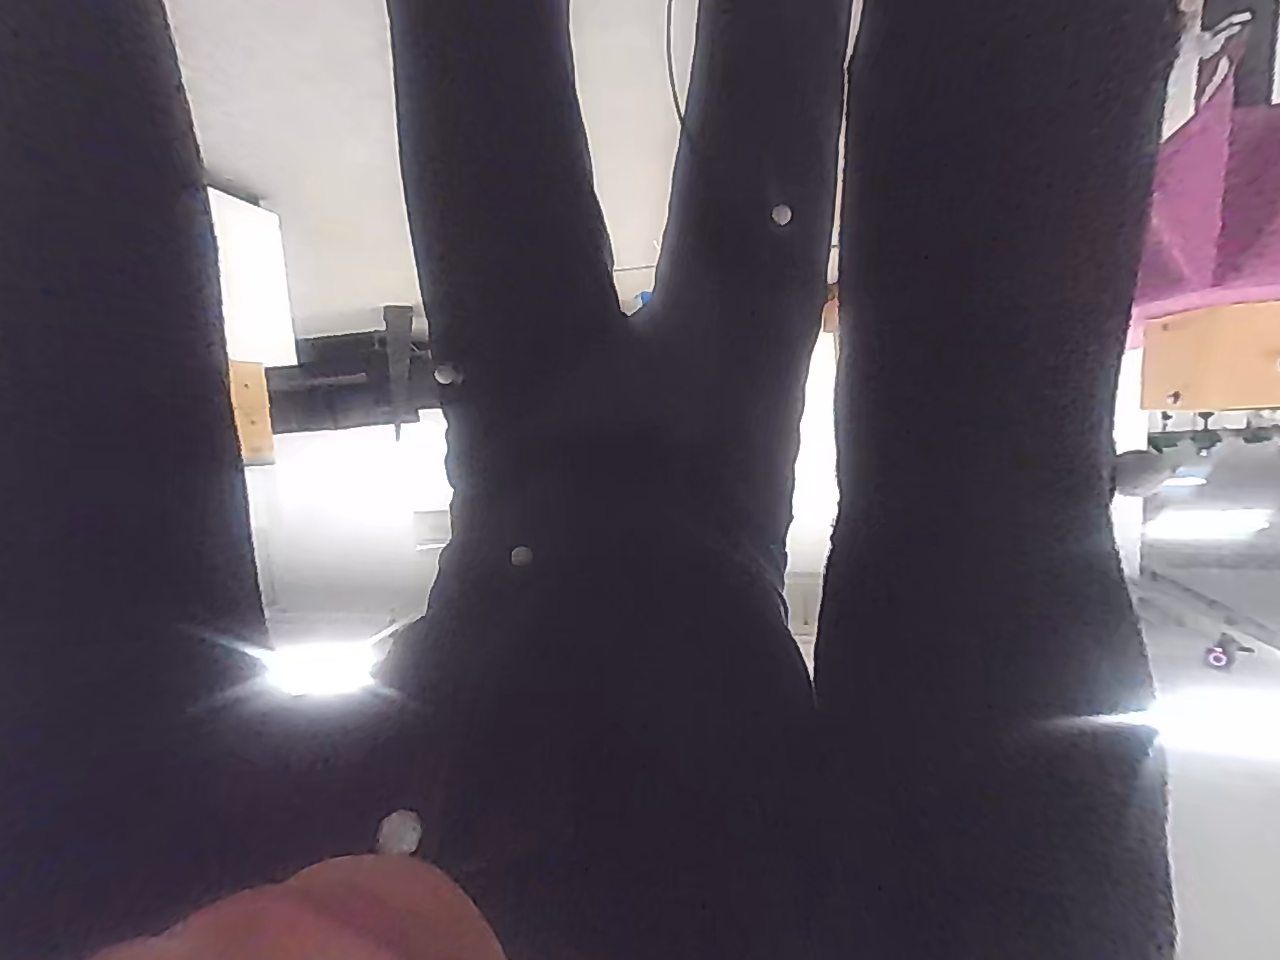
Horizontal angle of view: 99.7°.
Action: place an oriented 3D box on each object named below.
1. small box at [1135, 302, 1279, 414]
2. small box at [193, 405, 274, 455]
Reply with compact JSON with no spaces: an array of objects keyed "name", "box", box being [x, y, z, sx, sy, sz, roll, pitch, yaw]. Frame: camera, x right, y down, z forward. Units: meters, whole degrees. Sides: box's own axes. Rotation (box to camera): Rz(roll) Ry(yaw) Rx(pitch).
[{"name":"small box","box":[0.996,-0.204,0.913,0.179,0.176,0.168,-2,-173,14]},{"name":"small box","box":[-1.483,-0.185,1.971,0.179,0.176,0.168,-1,-171,8]}]
